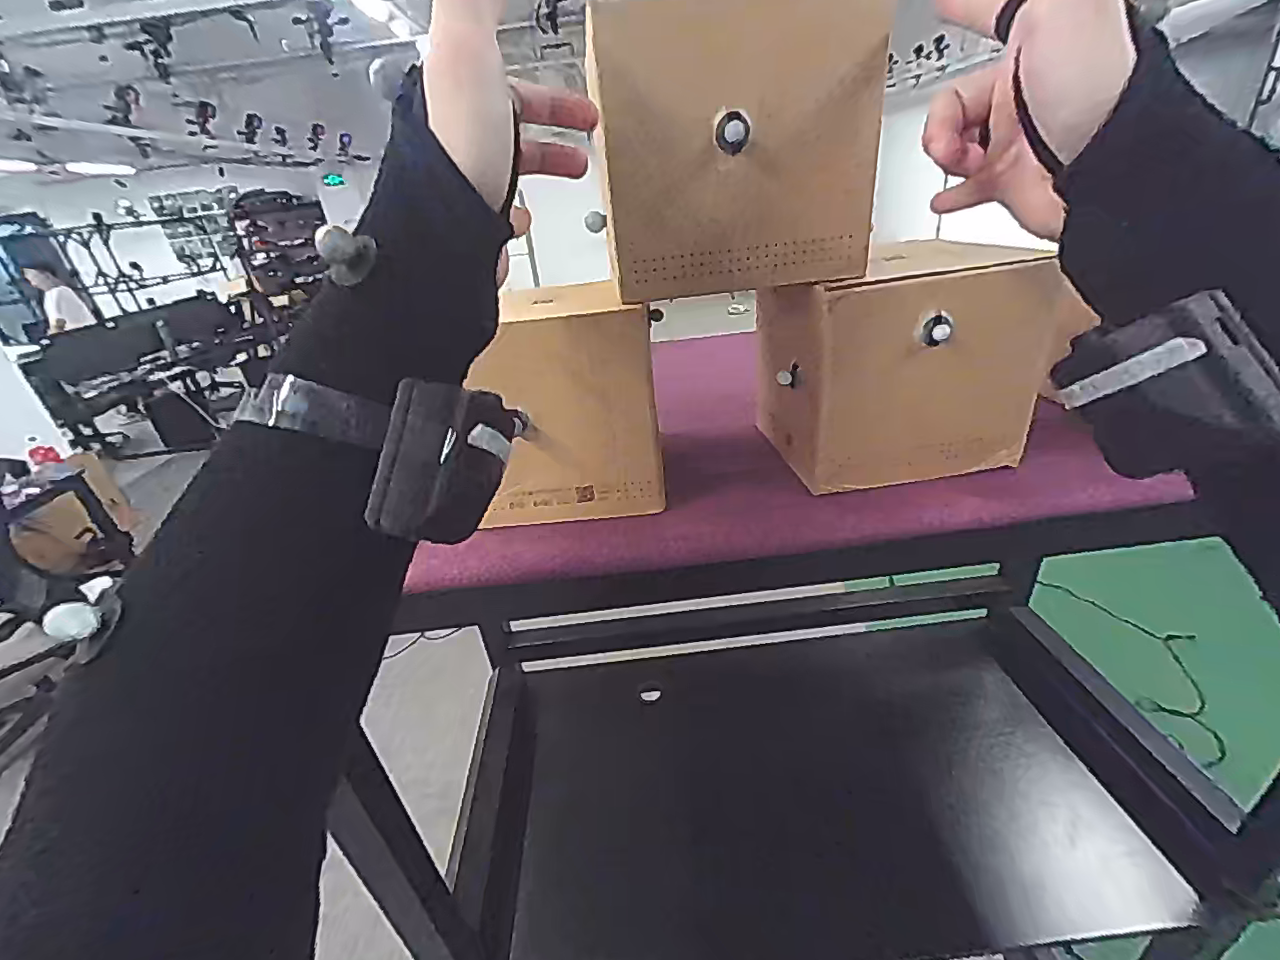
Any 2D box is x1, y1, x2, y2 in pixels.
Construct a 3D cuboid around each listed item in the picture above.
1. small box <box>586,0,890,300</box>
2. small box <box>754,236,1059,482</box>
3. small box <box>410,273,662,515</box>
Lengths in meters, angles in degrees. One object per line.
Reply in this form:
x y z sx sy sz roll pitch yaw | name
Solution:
0.057 -0.242 0.407 0.179 0.176 0.168 -8 28 -2 | small box
0.208 -0.110 0.474 0.179 0.176 0.168 -8 28 -2 | small box
-0.070 -0.078 0.480 0.168 0.176 0.179 -5 27 3 | small box
